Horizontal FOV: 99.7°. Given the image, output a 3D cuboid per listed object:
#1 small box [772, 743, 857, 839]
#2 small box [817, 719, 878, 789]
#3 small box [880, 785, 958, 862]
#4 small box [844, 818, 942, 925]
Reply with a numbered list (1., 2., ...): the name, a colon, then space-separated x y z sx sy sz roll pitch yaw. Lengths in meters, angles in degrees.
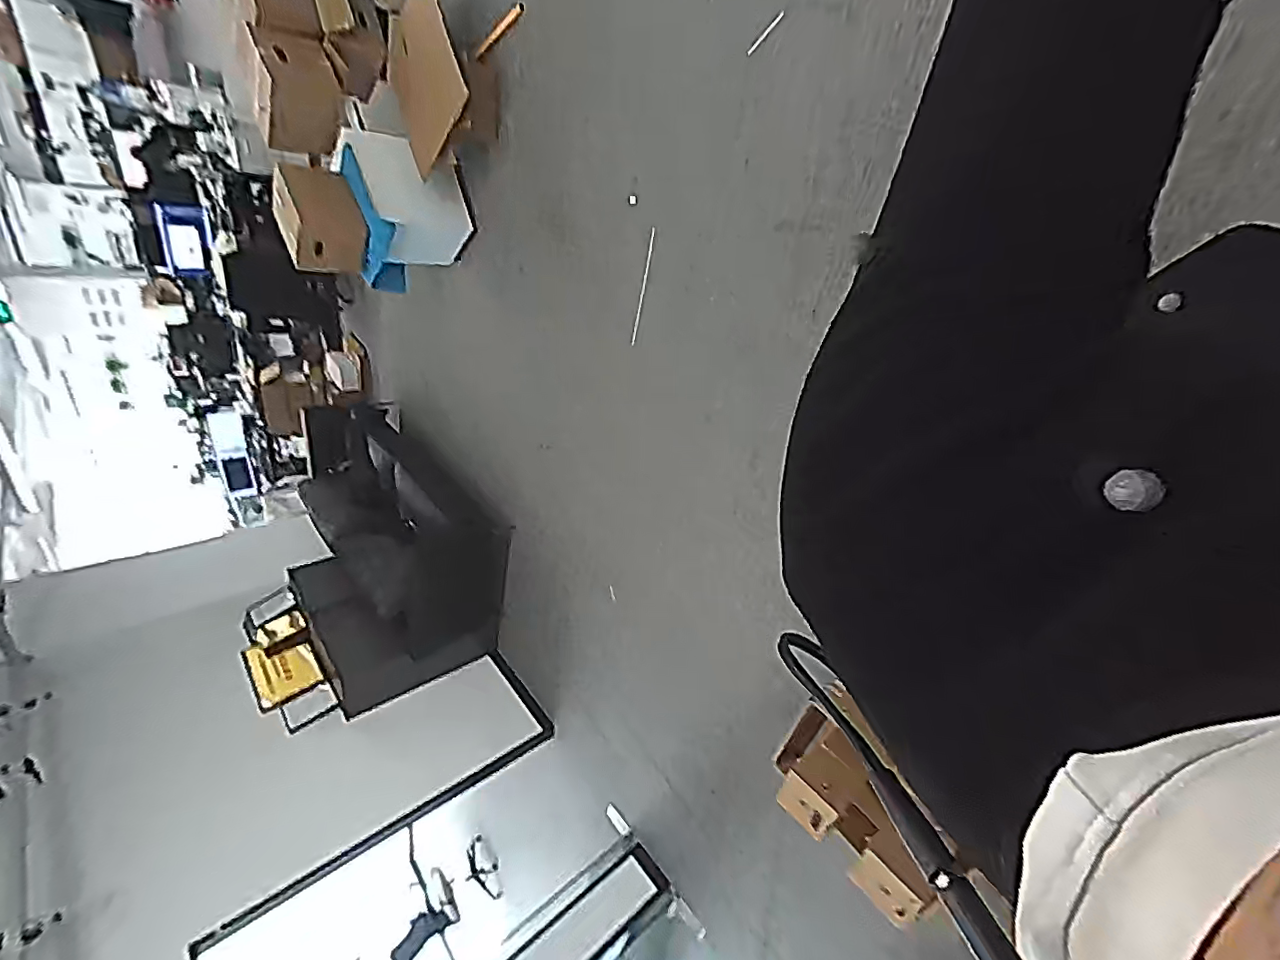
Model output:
1. small box: 0.569 1.002 1.756 0.179 0.176 0.168 36 126 36
2. small box: 0.689 0.966 1.864 0.168 0.176 0.179 40 130 33
3. small box: 0.871 1.113 1.708 0.168 0.176 0.179 39 129 34
4. small box: 0.749 1.144 1.600 0.179 0.176 0.168 39 129 35
